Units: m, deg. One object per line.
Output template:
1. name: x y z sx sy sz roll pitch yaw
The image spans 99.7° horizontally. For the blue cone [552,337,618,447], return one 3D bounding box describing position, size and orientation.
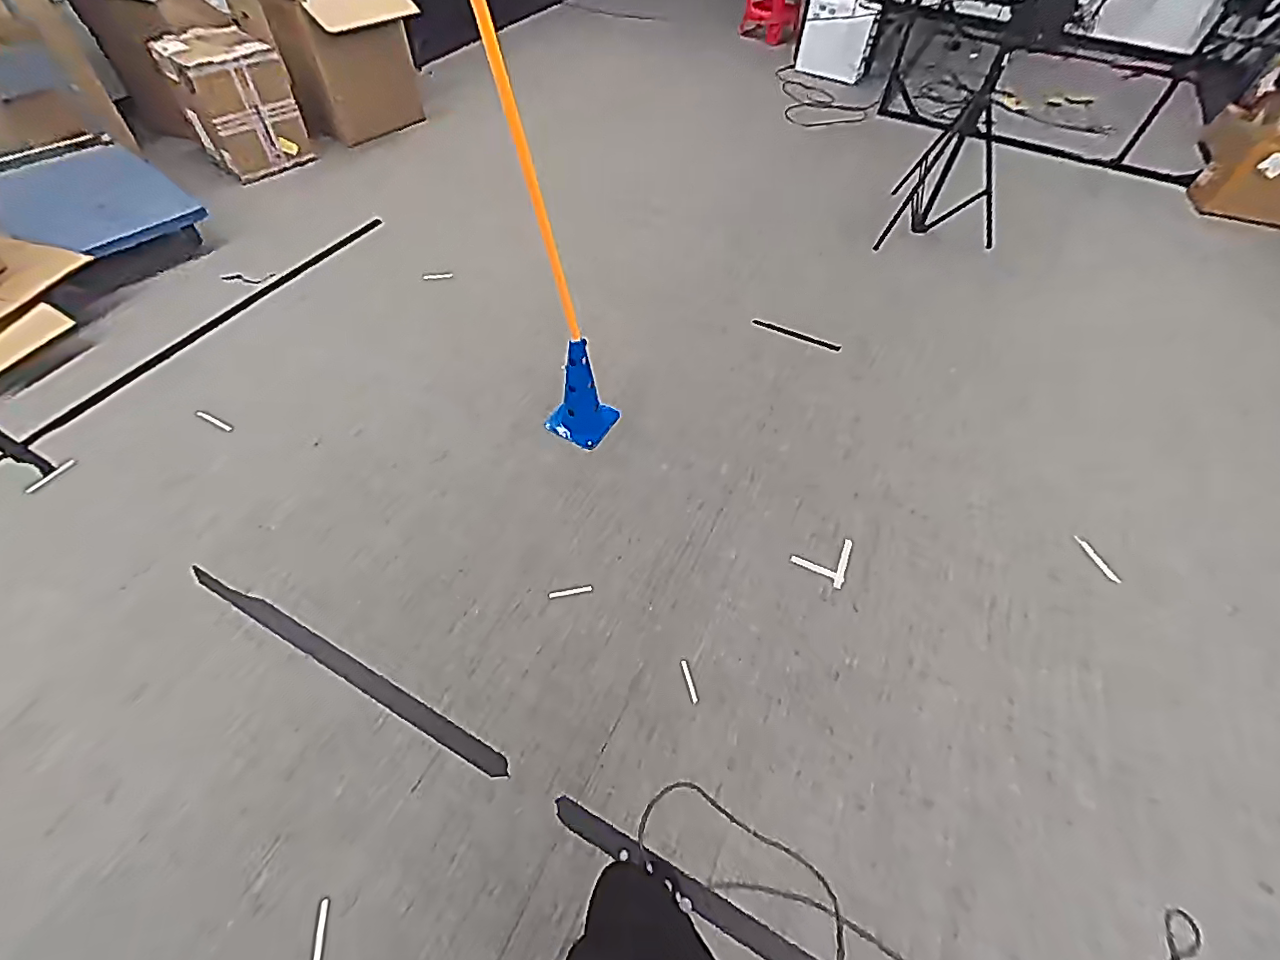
1. blue cone: -0.184 -0.303 1.730 0.192 0.380 0.193 27 58 15
